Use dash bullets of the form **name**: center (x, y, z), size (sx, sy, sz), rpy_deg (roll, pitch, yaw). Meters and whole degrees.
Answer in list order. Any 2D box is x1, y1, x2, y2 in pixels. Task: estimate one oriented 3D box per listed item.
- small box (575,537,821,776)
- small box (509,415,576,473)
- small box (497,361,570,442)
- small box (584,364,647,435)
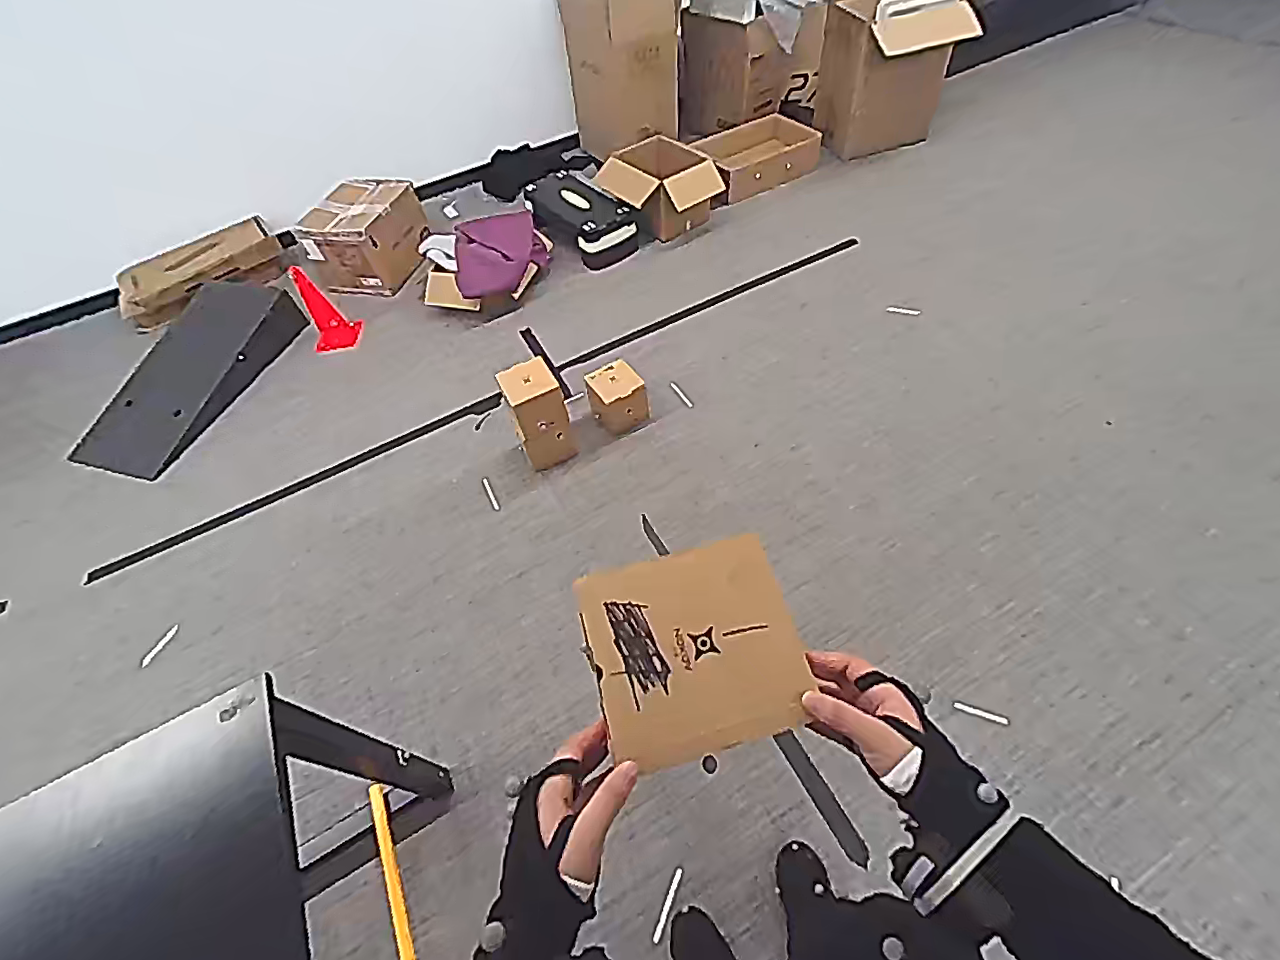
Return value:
- **small box**: center (0.045, 0.180, 0.533), size (0.179, 0.176, 0.168), rpy_deg (-14, 63, -7)
- **small box**: center (-0.341, -0.156, 1.928), size (0.179, 0.176, 0.168), rpy_deg (-25, 54, -11)
- **small box**: center (-0.353, -0.259, 1.803), size (0.168, 0.176, 0.179), rpy_deg (-27, 56, -11)
- **small box**: center (-0.086, -0.291, 2.001), size (0.168, 0.176, 0.179), rpy_deg (-29, 56, -14)
